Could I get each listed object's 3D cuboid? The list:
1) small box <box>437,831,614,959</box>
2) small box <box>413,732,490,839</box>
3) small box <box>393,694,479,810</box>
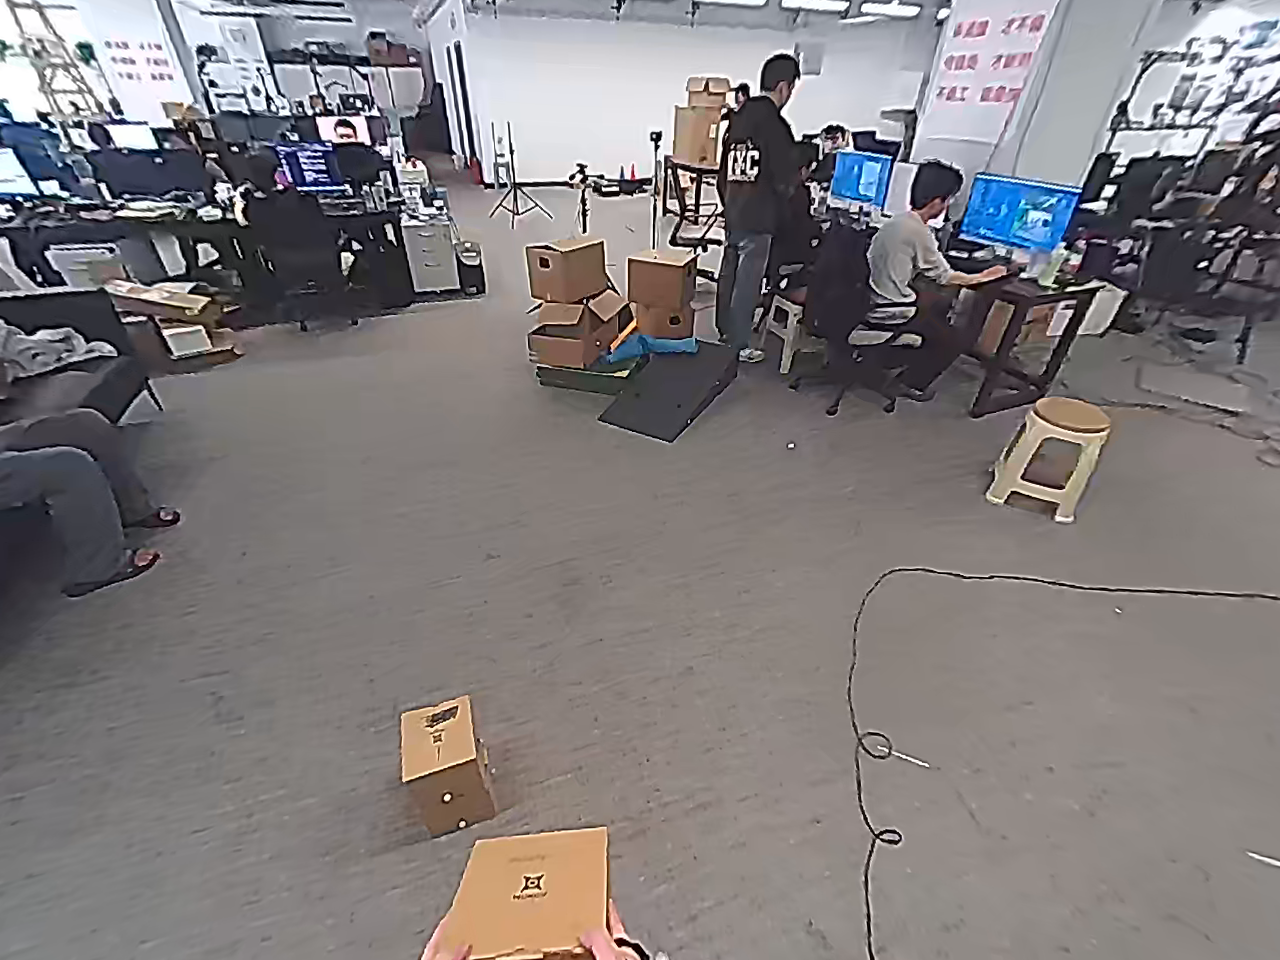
[{"bbox_3d":[-0.113,0.531,0.589,0.168,0.176,0.179,-4,1,-5],"label":"small box"},{"bbox_3d":[-0.506,0.817,1.449,0.179,0.176,0.168,-13,40,-18],"label":"small box"},{"bbox_3d":[-0.499,0.670,1.335,0.168,0.176,0.179,-11,38,-14],"label":"small box"}]
